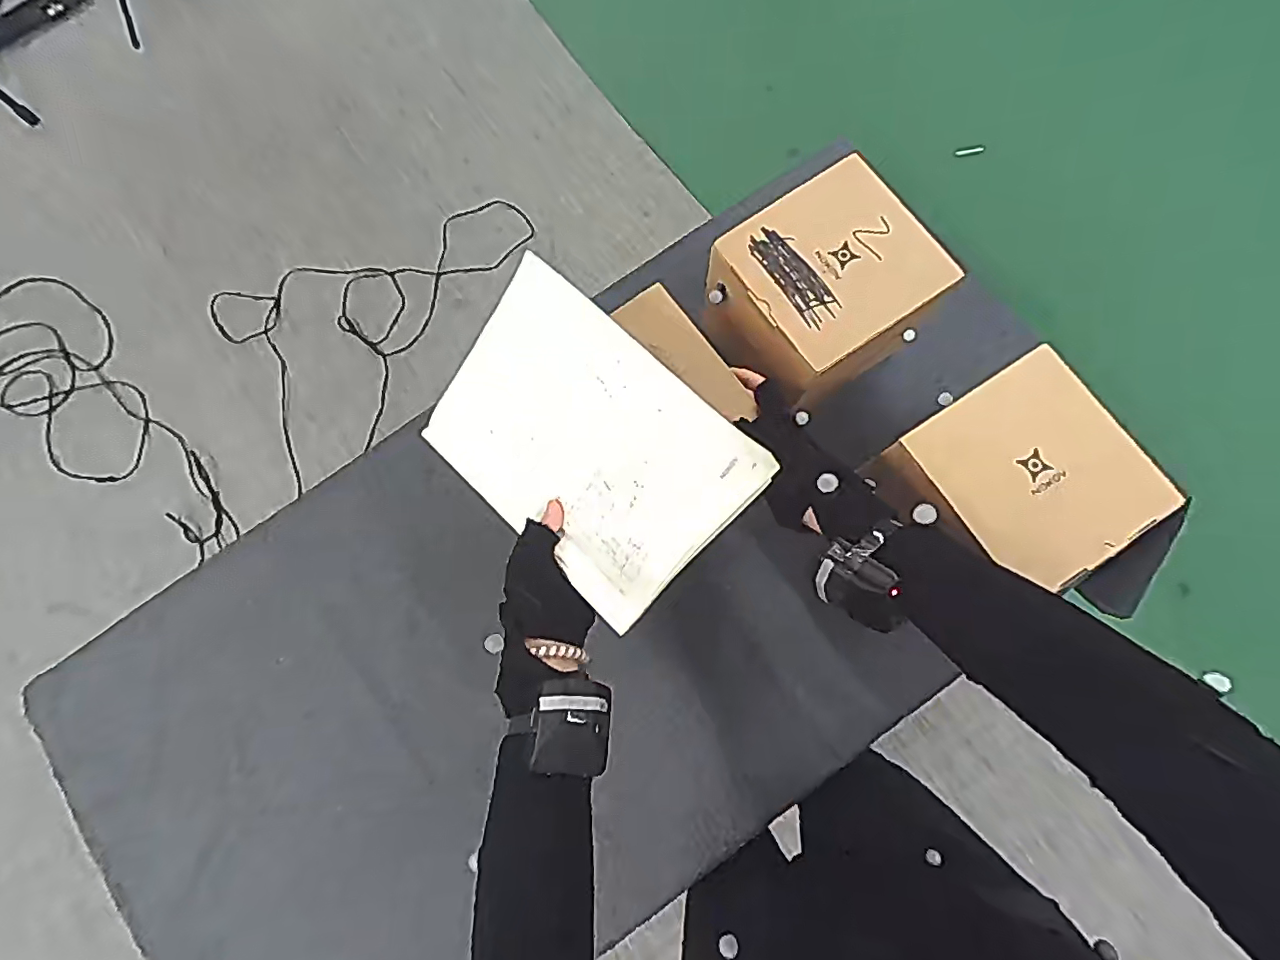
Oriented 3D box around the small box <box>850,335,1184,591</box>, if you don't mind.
[{"bbox_3d":[0.344,-0.003,0.539,0.168,0.176,0.179,-31,79,-4],"label":"small box"}]
